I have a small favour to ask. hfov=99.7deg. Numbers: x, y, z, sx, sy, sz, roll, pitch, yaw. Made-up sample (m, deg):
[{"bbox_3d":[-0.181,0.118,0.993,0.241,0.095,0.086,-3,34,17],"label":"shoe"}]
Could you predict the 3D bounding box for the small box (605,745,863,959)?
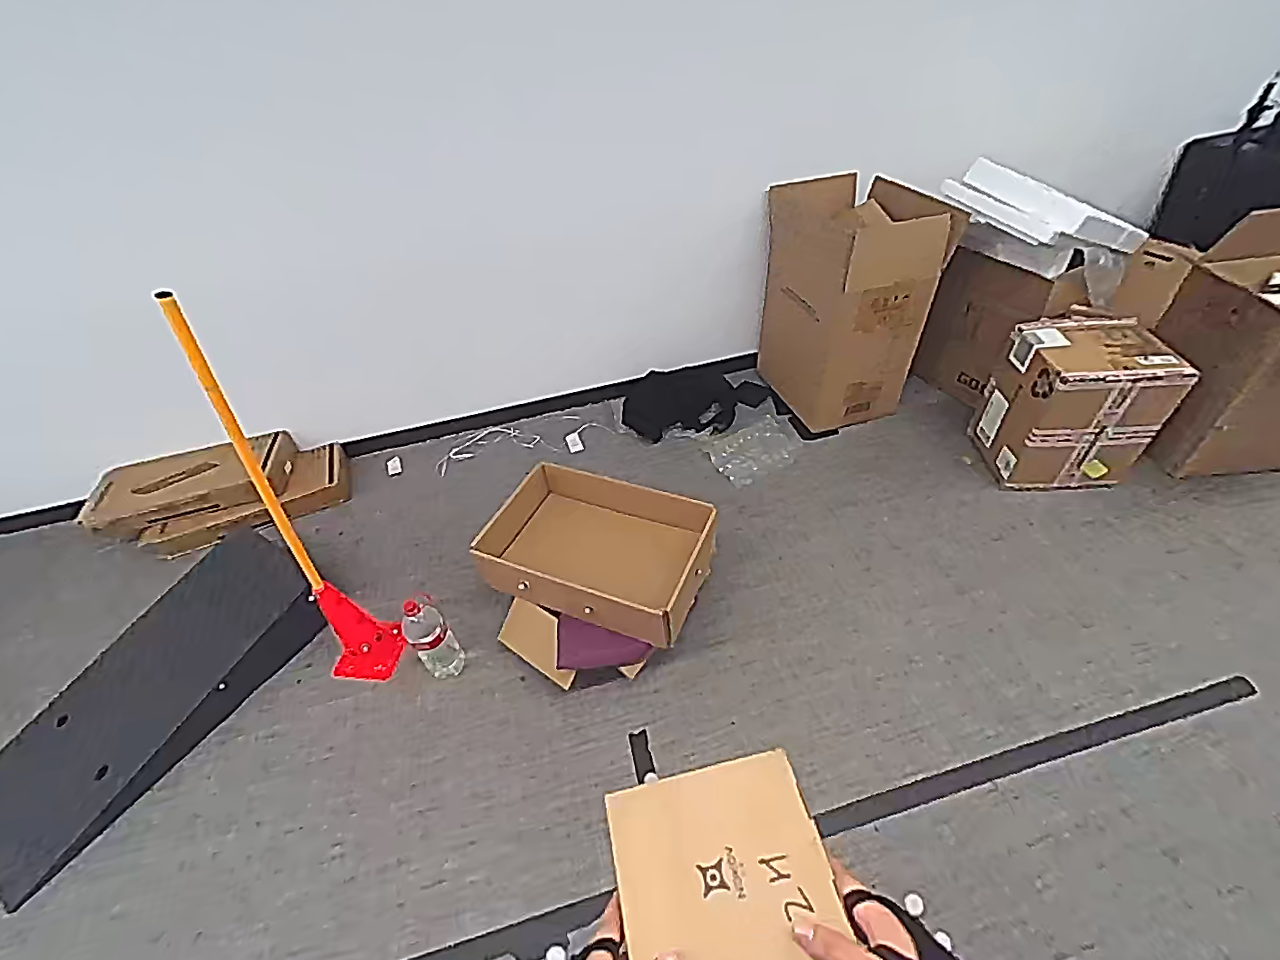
[{"bbox_3d":[0.075,0.379,0.507,0.179,0.176,0.168,-12,48,-5],"label":"small box"}]
